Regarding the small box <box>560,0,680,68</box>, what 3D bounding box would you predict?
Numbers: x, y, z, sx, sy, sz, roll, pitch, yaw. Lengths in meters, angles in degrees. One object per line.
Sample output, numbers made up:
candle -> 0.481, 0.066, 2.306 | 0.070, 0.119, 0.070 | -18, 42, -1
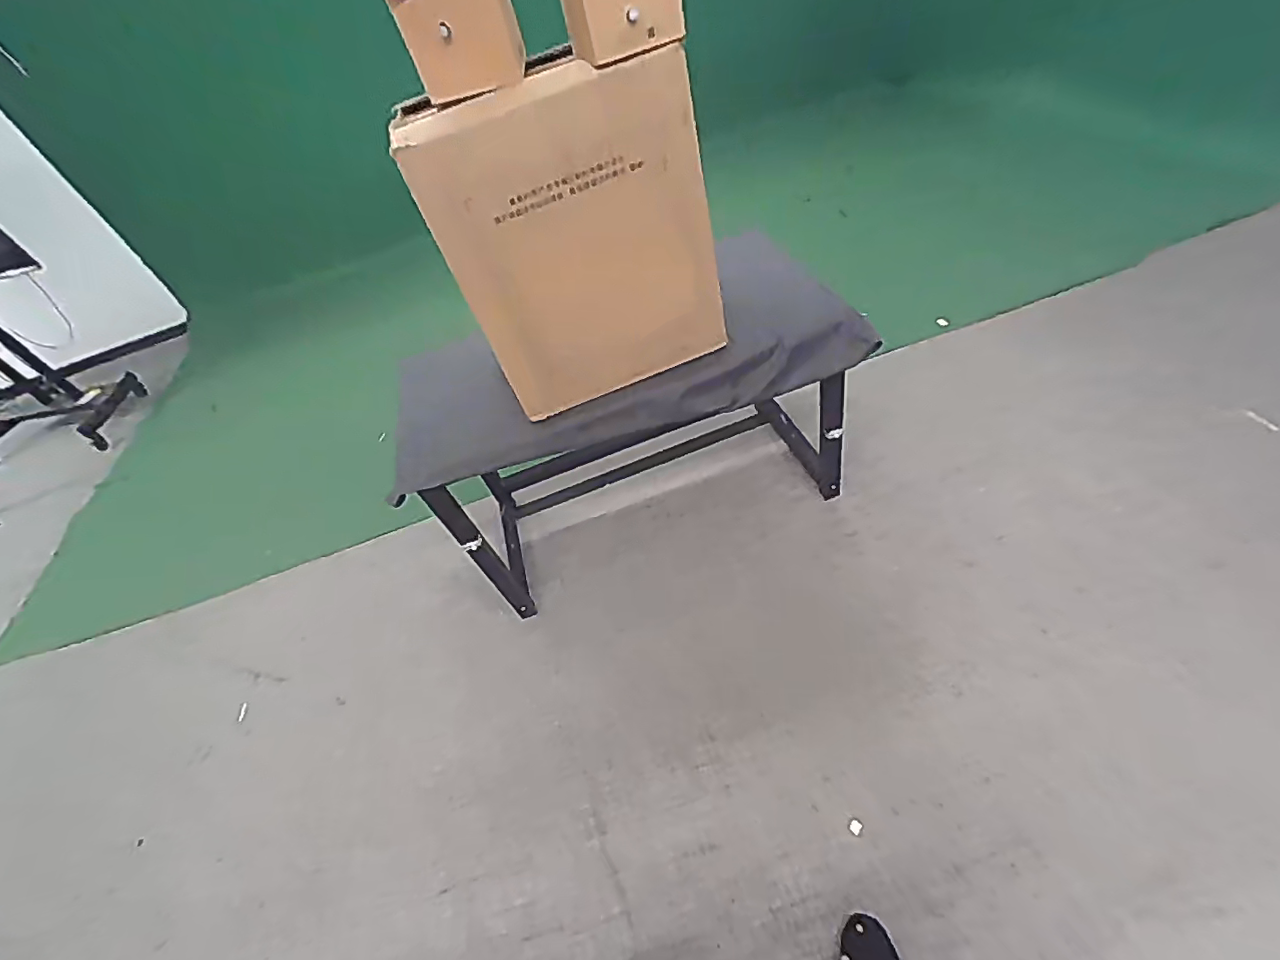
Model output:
small box -> -0.044, -0.829, 0.919 | 0.168, 0.176, 0.179 | -22, 47, -3

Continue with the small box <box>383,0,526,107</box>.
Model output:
small box -> -0.320, -0.803, 0.965 | 0.179, 0.176, 0.168 | -12, 55, 6
